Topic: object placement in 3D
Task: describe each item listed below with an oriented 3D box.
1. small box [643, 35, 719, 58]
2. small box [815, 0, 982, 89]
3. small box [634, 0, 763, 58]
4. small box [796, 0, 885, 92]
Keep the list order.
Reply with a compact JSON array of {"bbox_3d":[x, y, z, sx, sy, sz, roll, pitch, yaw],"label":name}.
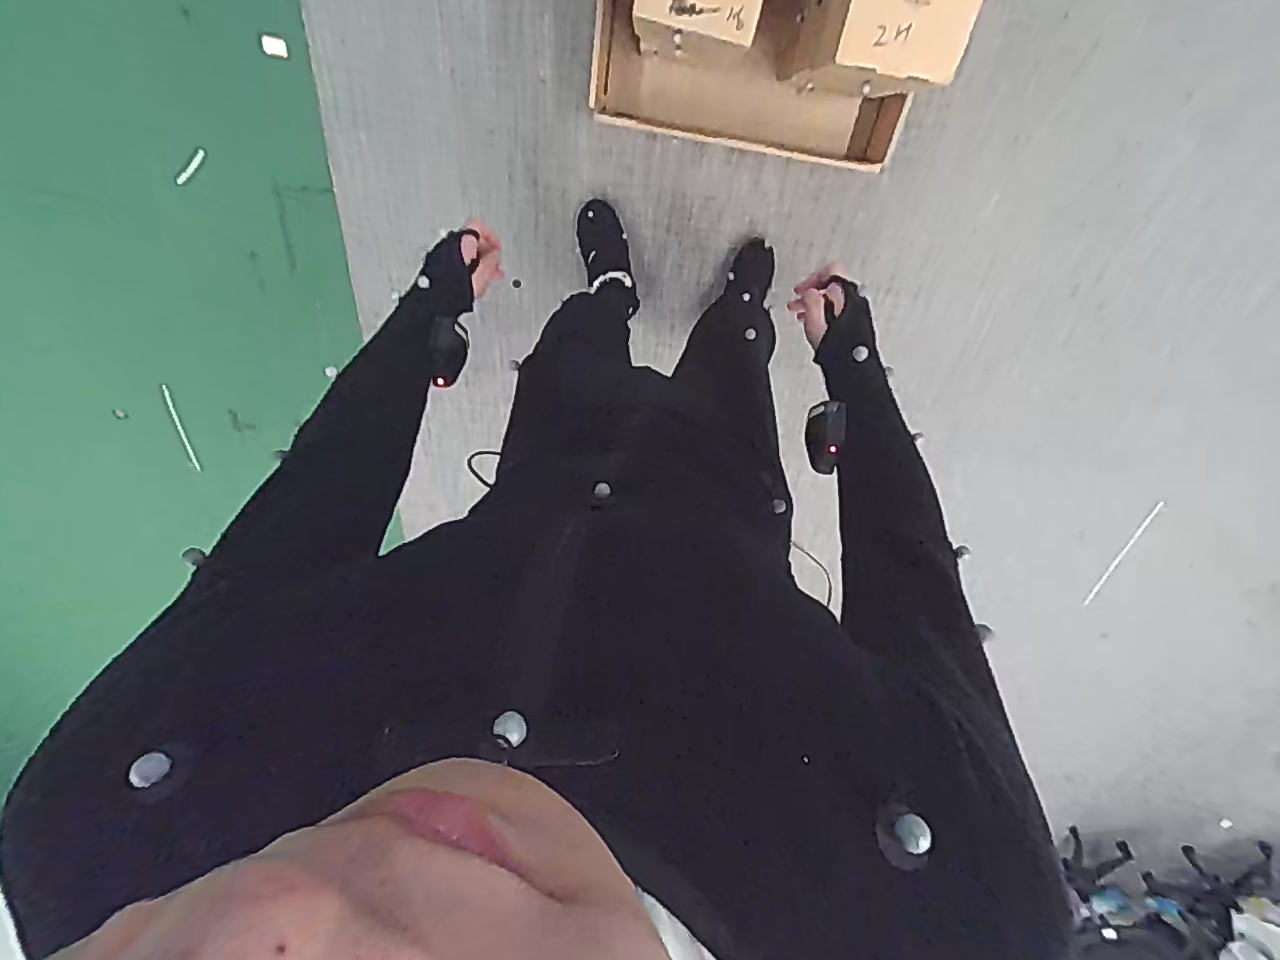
[{"bbox_3d":[0.091,-0.807,0.865,0.168,0.176,0.179,8,123,-5],"label":"small box"},{"bbox_3d":[0.359,-0.667,0.750,0.168,0.176,0.179,10,123,-2],"label":"small box"},{"bbox_3d":[0.087,-0.708,0.733,0.168,0.176,0.179,10,122,-6],"label":"small box"},{"bbox_3d":[0.368,-0.760,0.886,0.168,0.176,0.179,11,122,-4],"label":"small box"}]
